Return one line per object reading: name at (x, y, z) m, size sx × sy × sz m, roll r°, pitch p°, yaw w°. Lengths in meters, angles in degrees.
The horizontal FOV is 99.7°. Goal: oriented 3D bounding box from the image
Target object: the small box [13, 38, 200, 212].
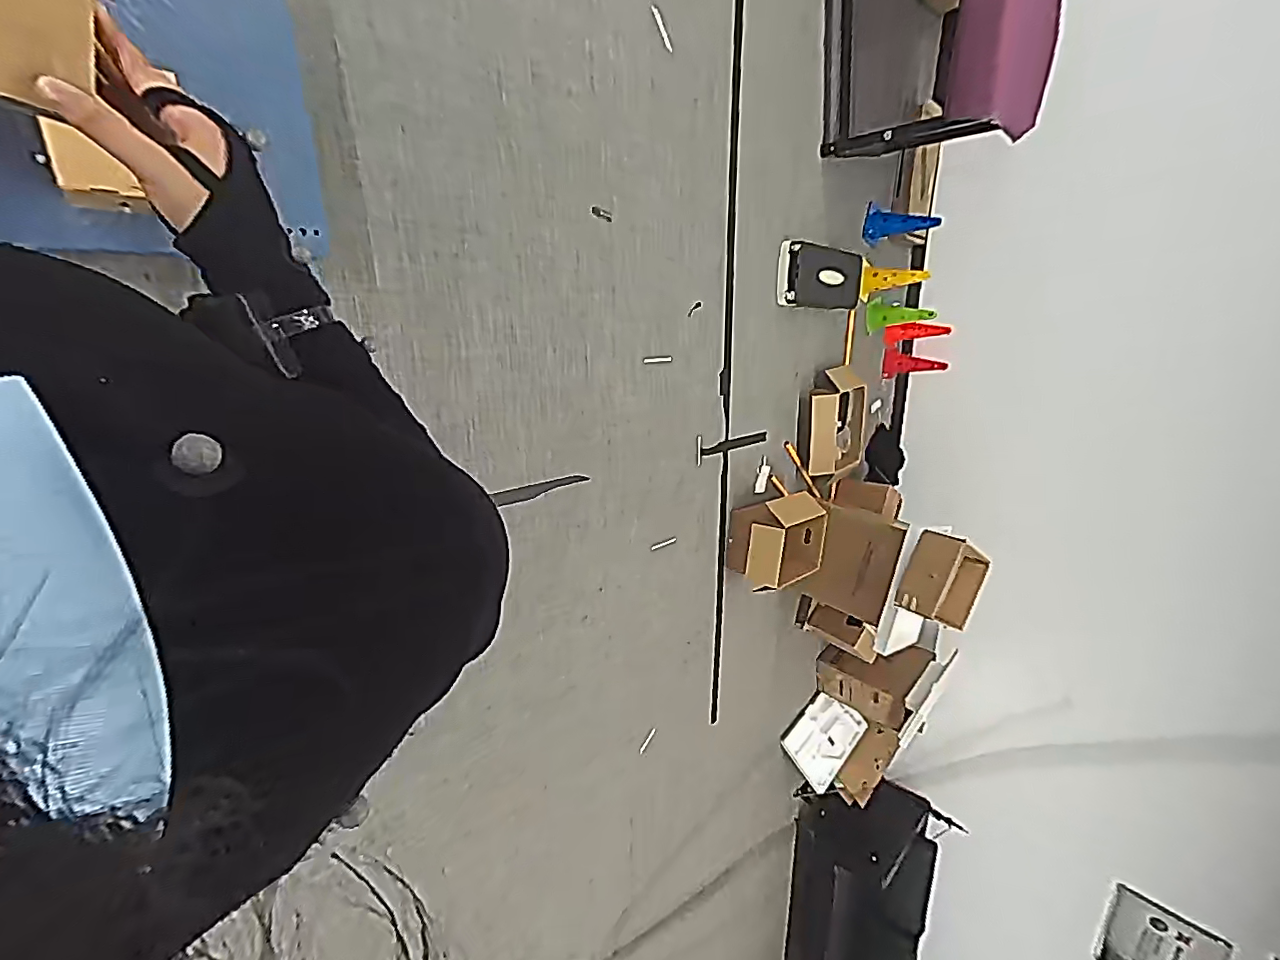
small box at (-0.815, -0.528, 0.836) m, size 0.168 × 0.176 × 0.179 m, roll -18°, pitch 114°, yaw -41°
